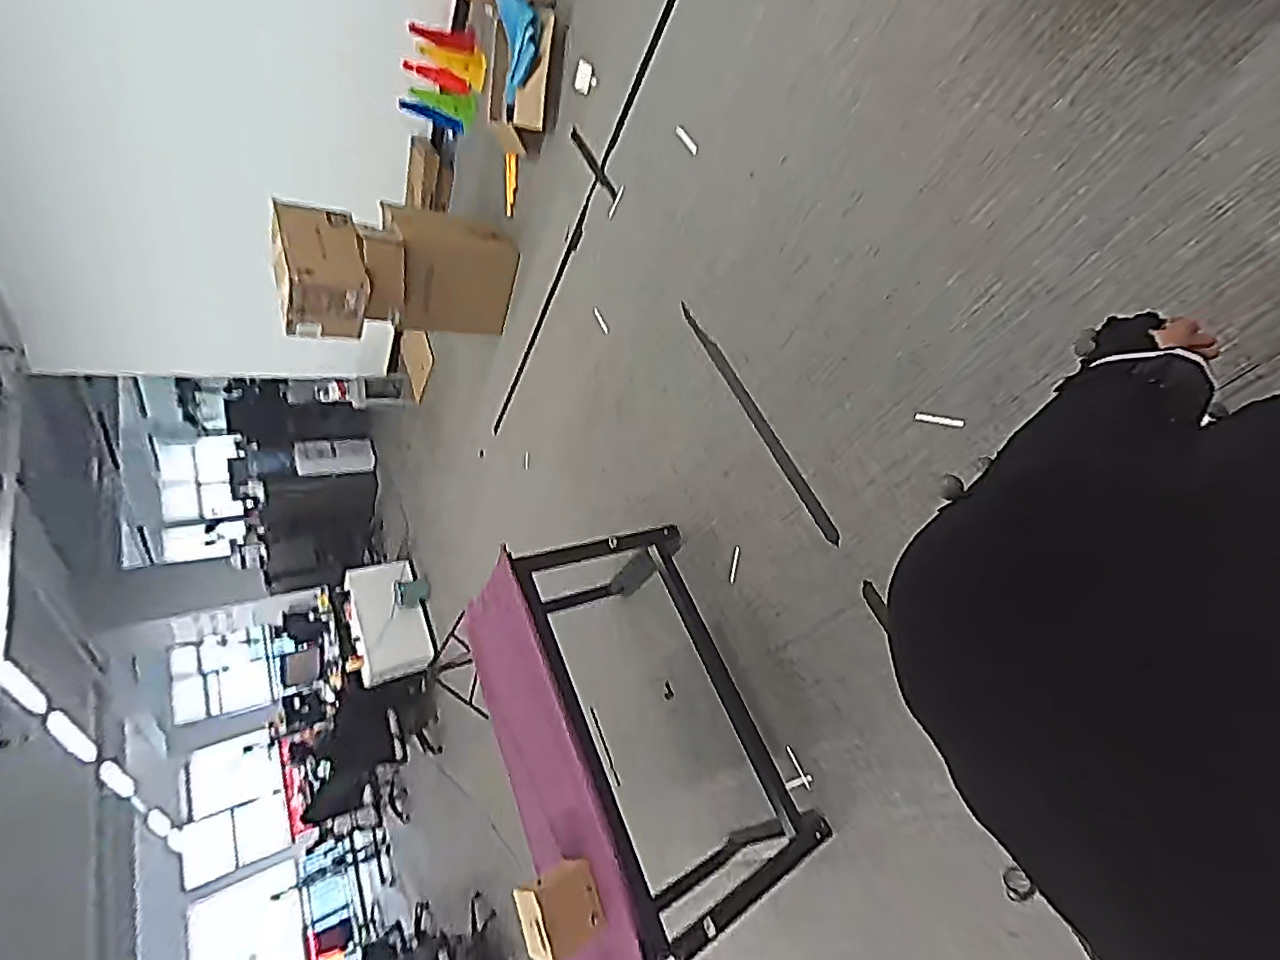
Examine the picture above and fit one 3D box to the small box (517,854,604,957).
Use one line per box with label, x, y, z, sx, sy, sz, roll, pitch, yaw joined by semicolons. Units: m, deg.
small box;-0.217;1.174;1.506;0.179;0.176;0.168;-45;60;46
